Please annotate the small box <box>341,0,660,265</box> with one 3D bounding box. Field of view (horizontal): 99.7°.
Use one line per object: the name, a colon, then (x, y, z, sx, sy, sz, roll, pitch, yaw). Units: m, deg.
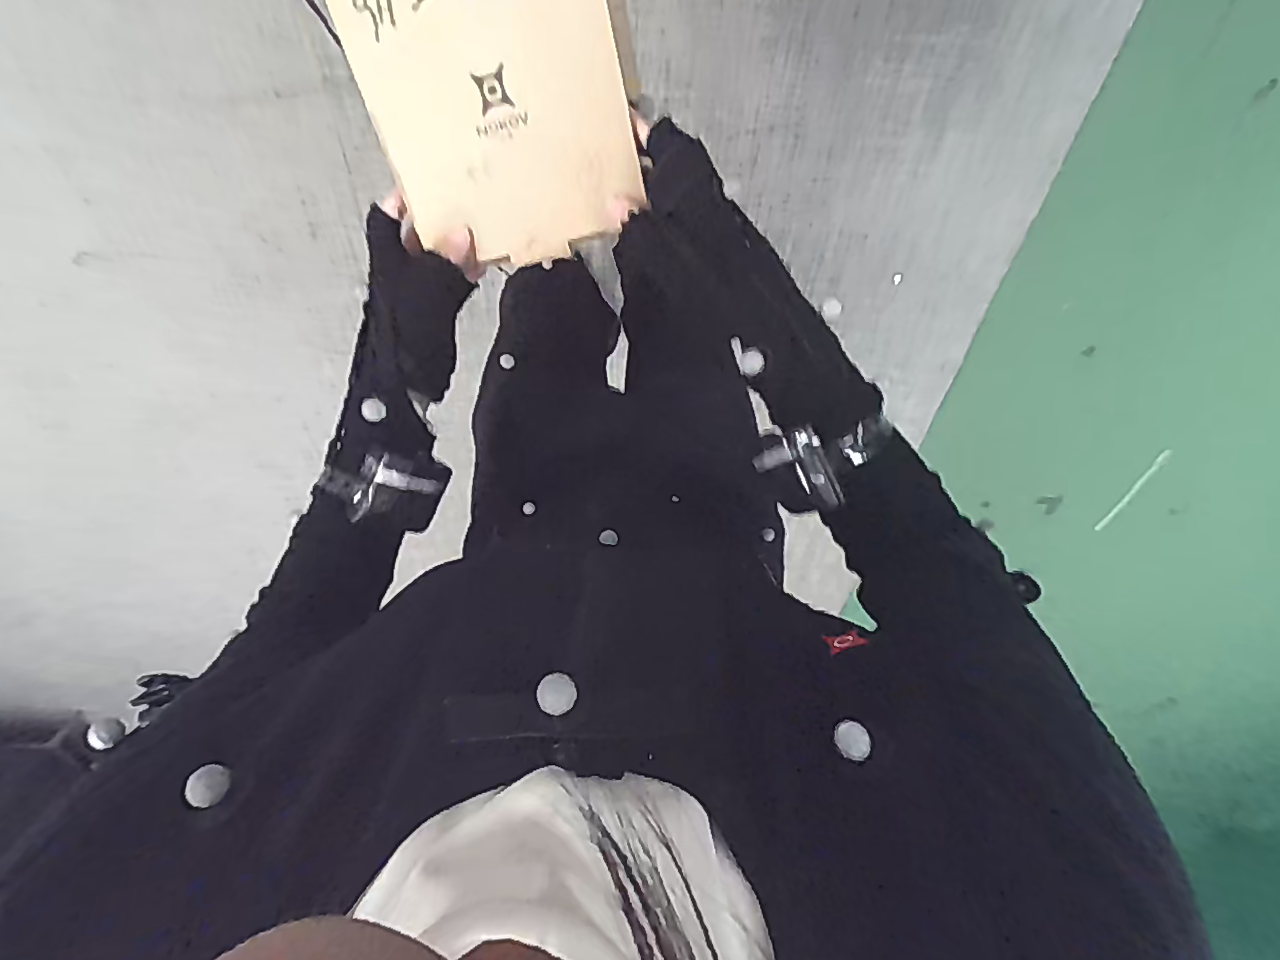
small box: (-0.081, -0.286, 0.417, 0.168, 0.176, 0.179, -9, 119, 10)
